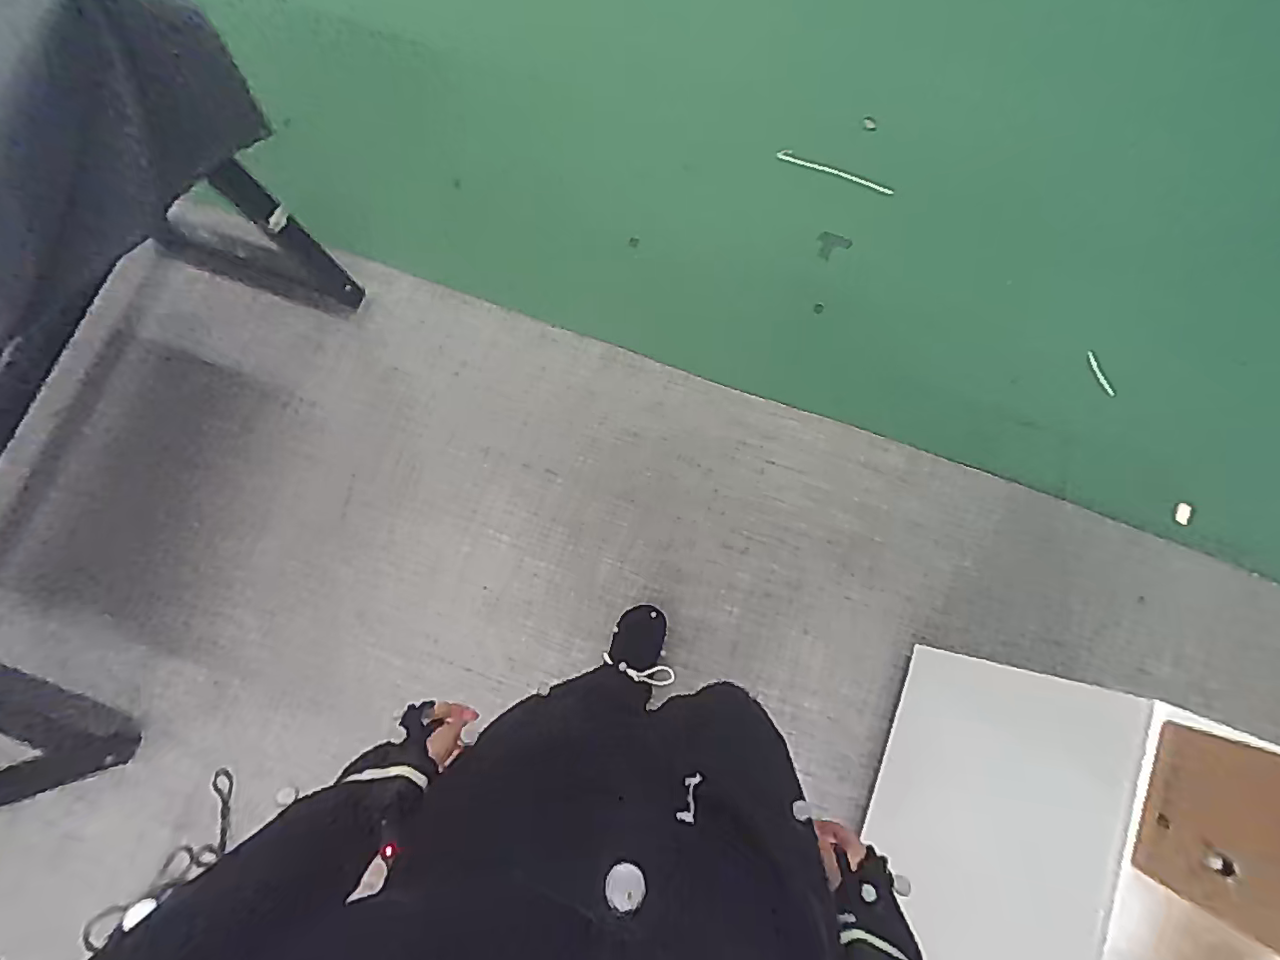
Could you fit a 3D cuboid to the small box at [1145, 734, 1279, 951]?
[{"bbox_3d":[0.645,0.365,0.509,0.179,0.176,0.168,22,82,3],"label":"small box"}]
